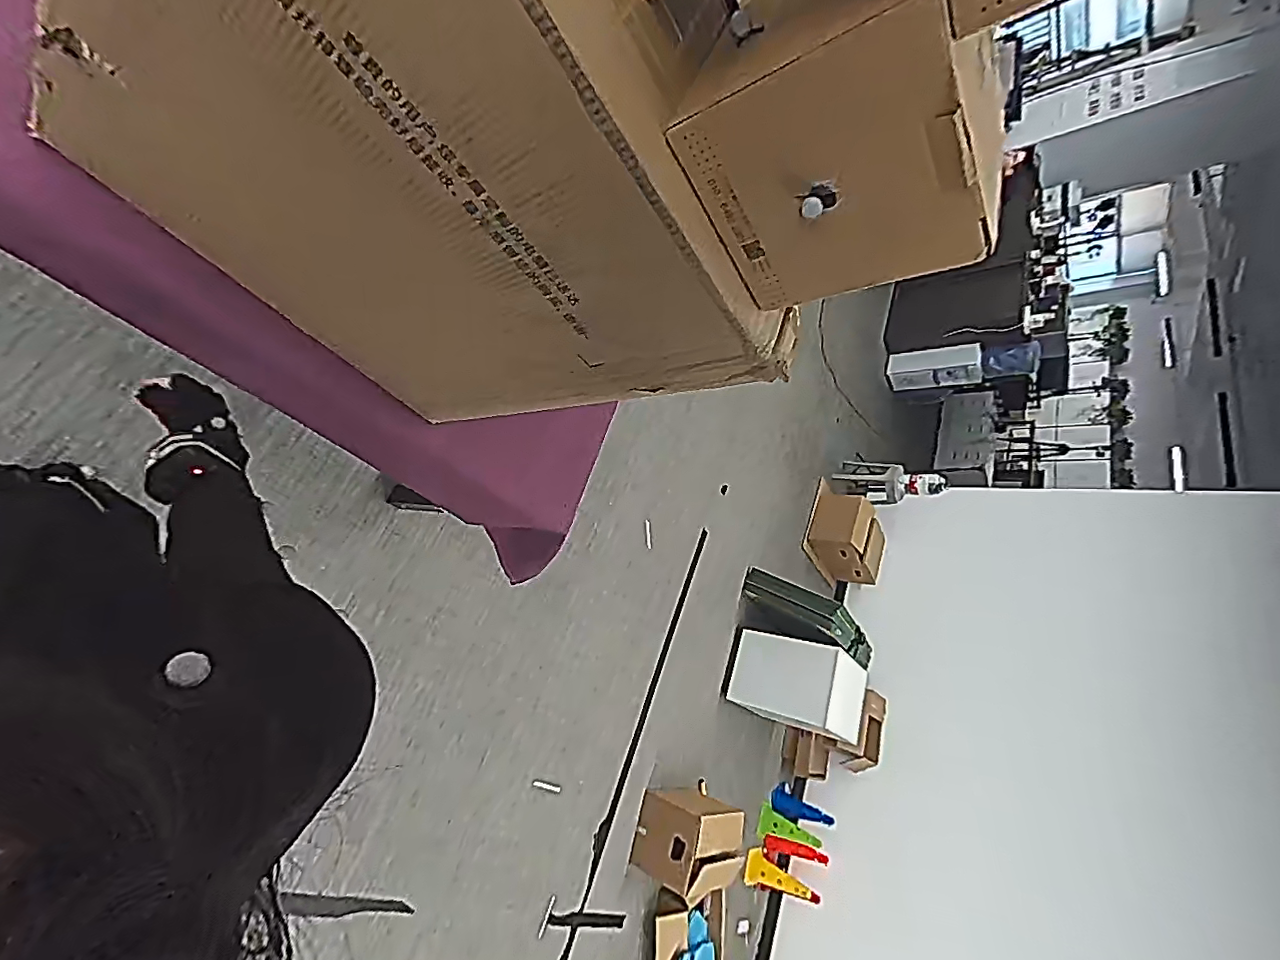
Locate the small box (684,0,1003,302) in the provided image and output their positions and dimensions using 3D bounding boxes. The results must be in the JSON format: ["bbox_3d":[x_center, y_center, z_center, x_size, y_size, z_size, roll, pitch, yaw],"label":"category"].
[{"bbox_3d":[0.154,-0.261,0.401,0.168,0.176,0.179,46,56,-40],"label":"small box"}]
